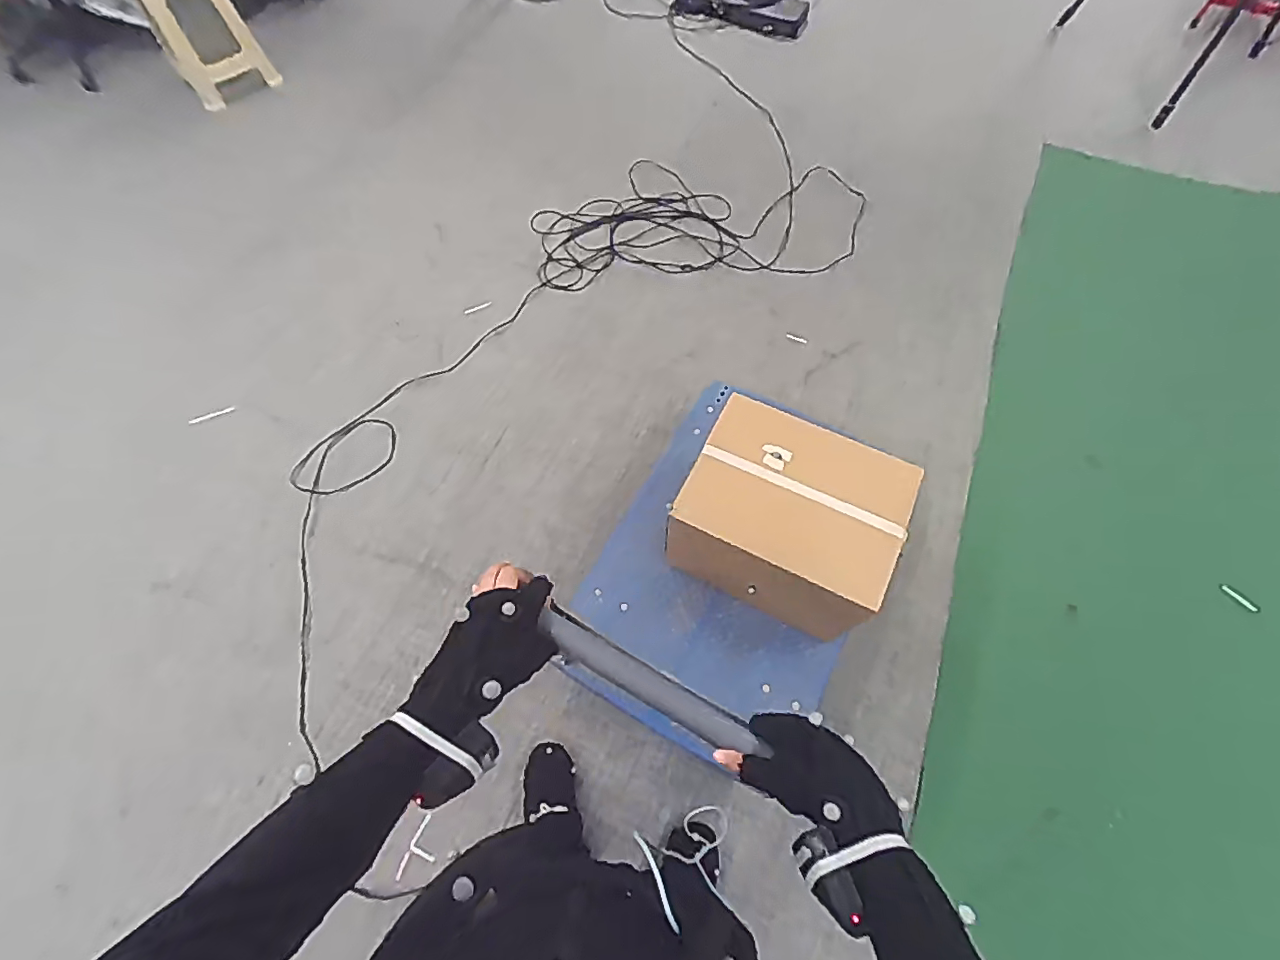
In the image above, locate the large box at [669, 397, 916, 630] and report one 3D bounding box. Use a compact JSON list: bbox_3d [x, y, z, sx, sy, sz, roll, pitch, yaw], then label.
[{"bbox_3d":[0.308,0.084,1.180,0.408,0.320,0.320,24,67,13],"label":"large box"}]
